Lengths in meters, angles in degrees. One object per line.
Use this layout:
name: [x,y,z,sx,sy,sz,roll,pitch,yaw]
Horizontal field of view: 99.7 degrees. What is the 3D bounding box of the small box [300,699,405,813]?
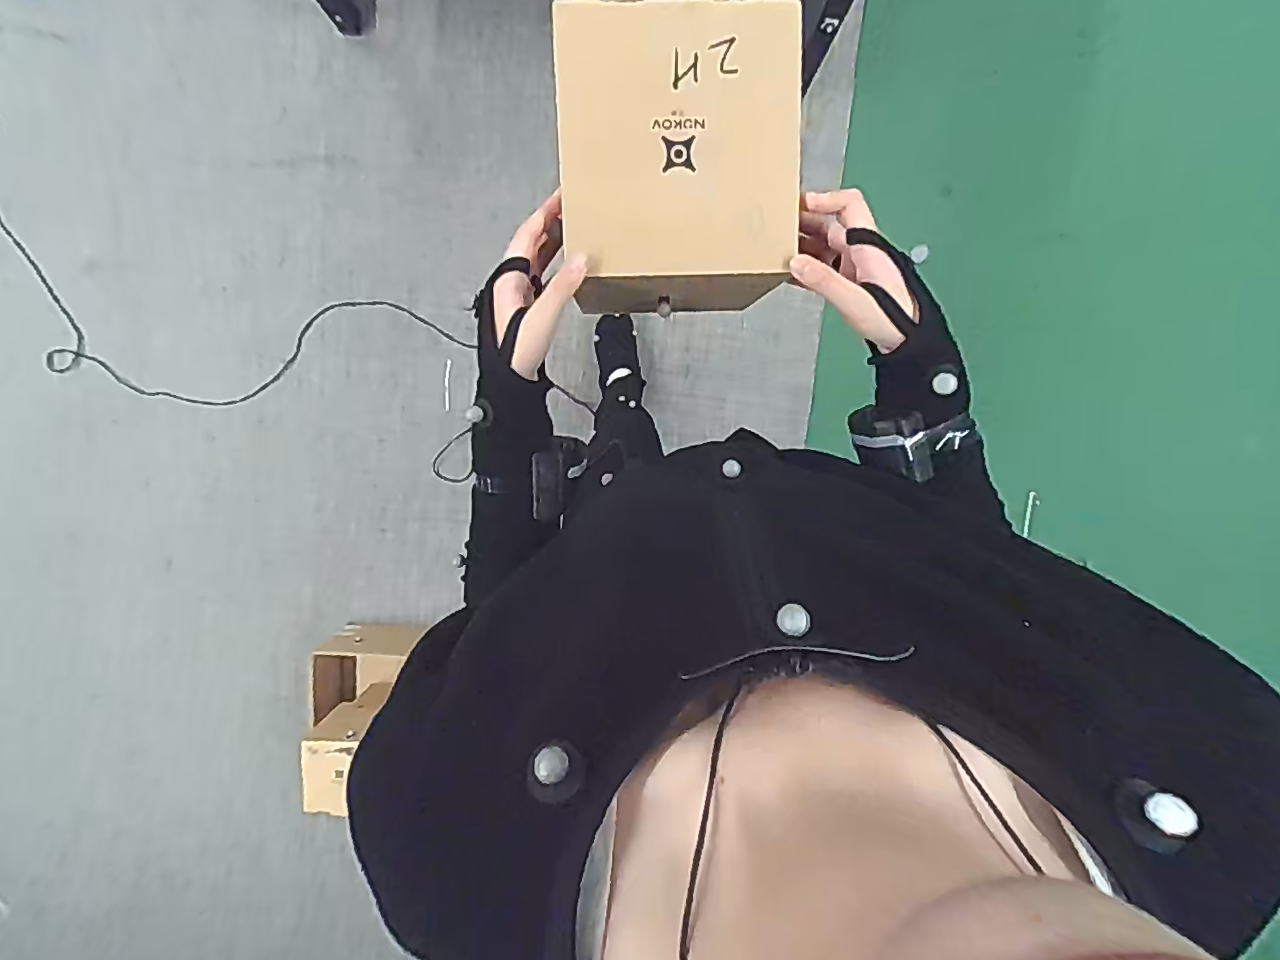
small box: [-0.673,0.649,1.283,0.168,0.176,0.179,2,97,-1]
